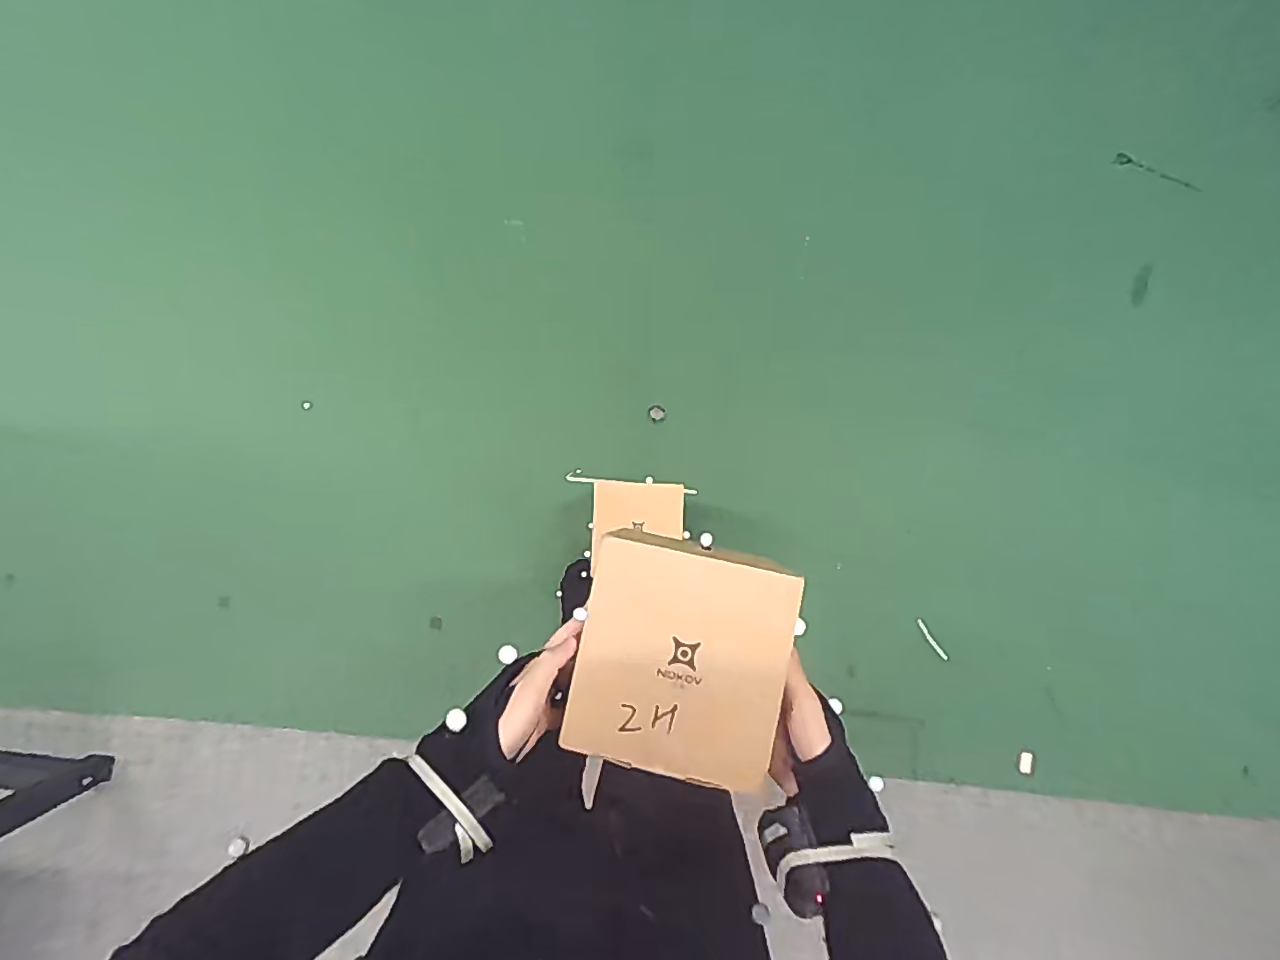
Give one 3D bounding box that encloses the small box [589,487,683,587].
[{"bbox_3d":[-0.011,0.106,1.051,0.168,0.176,0.179,2,88,-2],"label":"small box"}]
